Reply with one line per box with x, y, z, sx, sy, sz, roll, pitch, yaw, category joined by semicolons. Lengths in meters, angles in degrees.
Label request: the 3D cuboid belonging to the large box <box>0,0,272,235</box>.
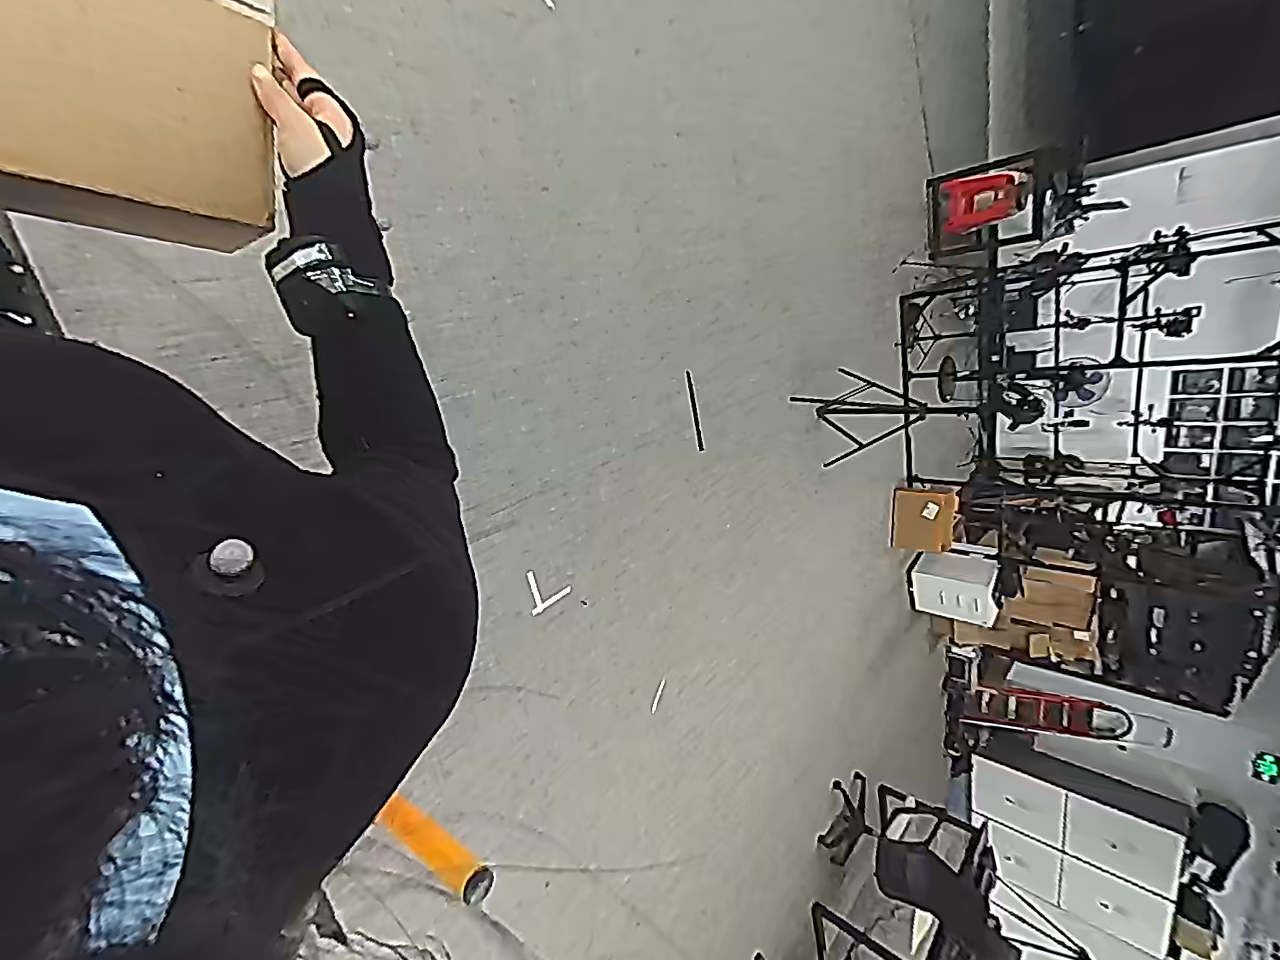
-0.540;-0.395;0.401;0.408;0.320;0.320;-4;106;-42;large box
